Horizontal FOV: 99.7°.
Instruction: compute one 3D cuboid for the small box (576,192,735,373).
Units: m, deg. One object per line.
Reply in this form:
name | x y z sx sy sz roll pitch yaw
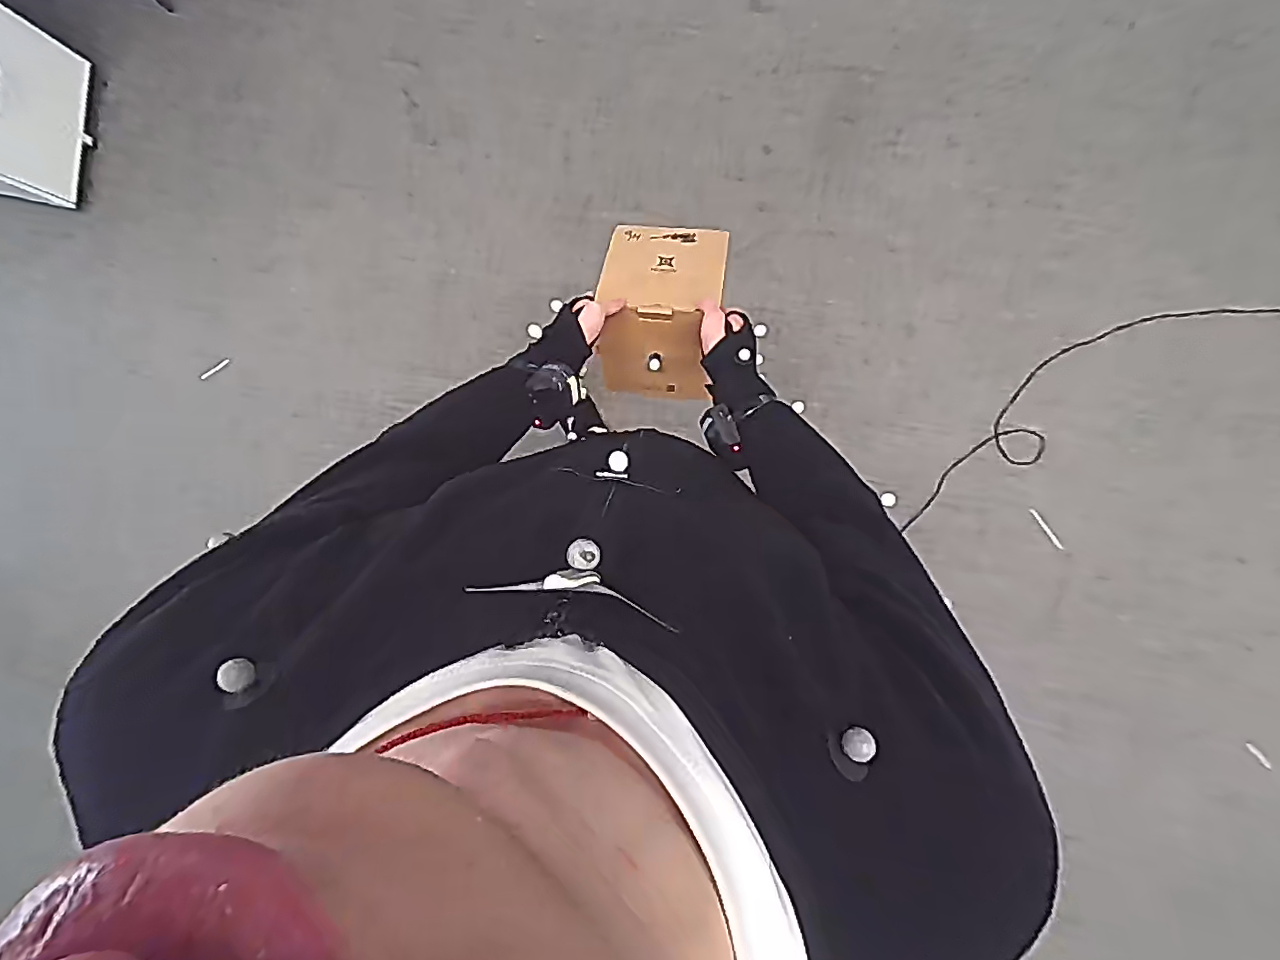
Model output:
small box | 0.023 -0.284 0.796 0.179 0.176 0.168 -19 59 -9
